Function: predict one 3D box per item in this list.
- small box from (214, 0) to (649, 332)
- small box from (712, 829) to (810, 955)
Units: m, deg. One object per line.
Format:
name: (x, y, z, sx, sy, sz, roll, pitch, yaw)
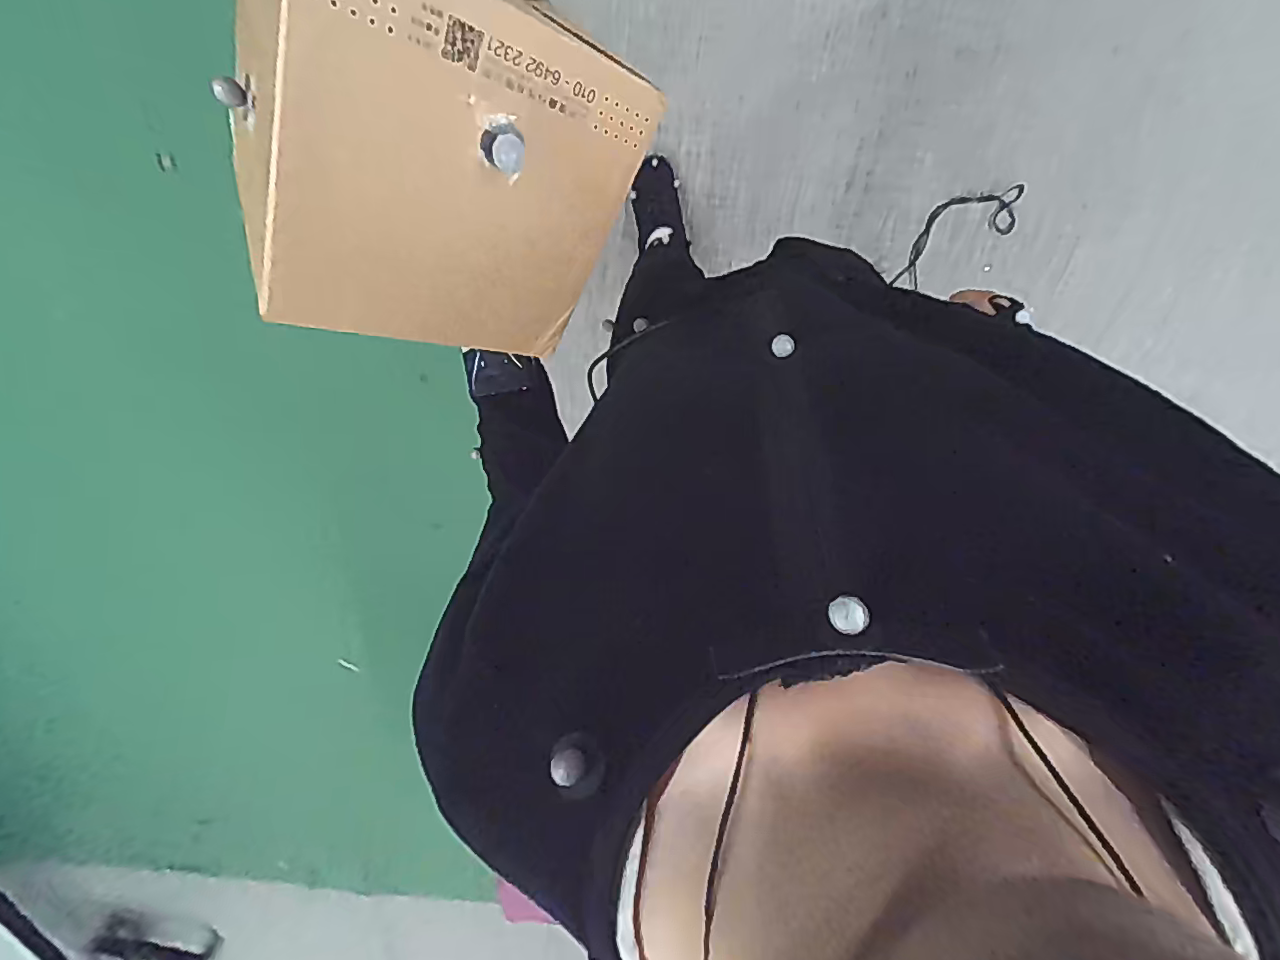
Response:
small box: (-0.122, -0.213, 0.299, 0.168, 0.179, 0.176, -2, 138, -41)
small box: (0.255, 0.898, 1.186, 0.168, 0.176, 0.179, 4, 120, 0)
